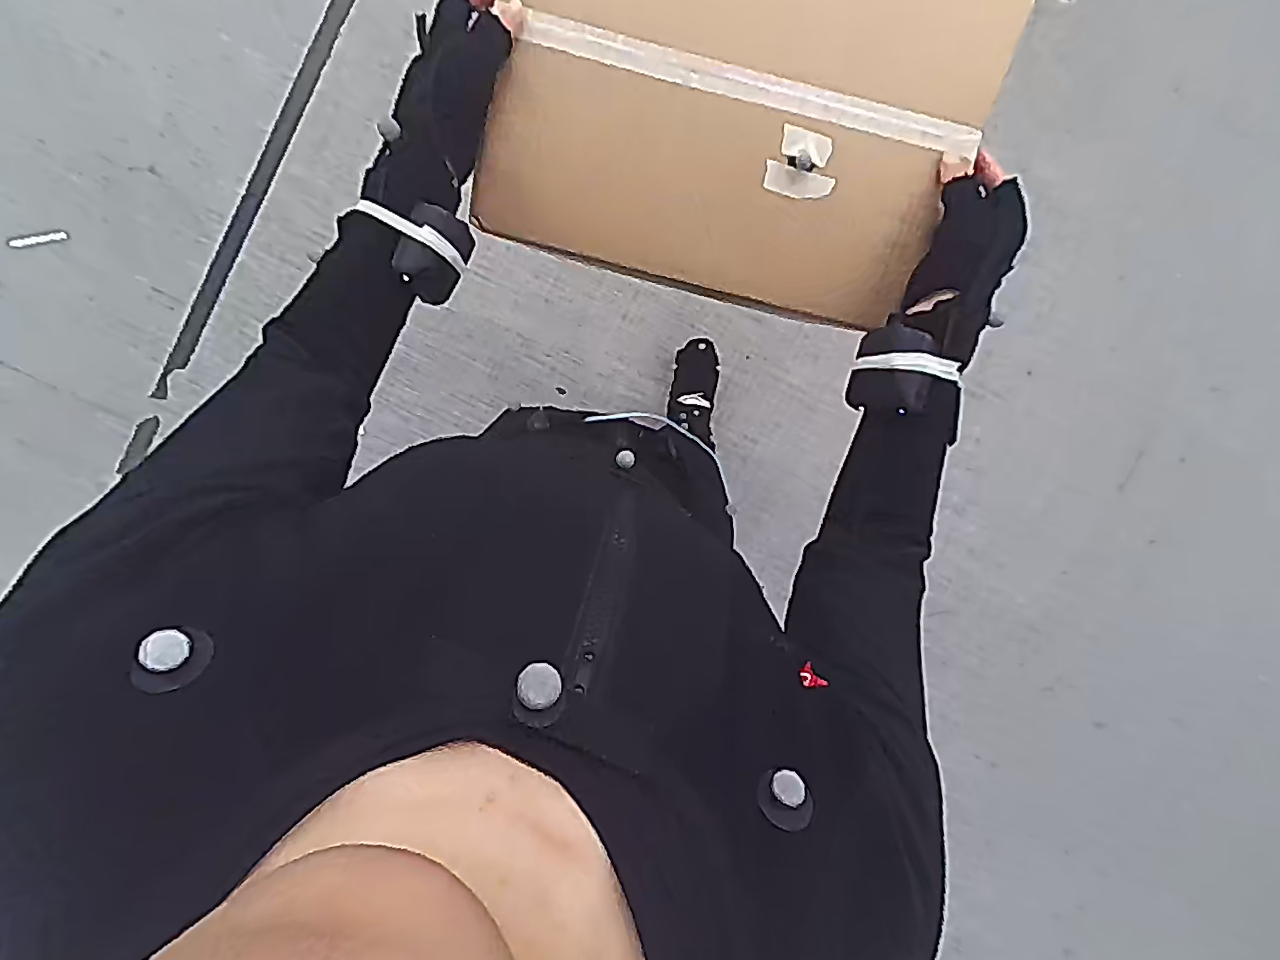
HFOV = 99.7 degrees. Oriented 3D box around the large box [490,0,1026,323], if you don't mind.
[{"bbox_3d":[0.091,-0.378,0.590,0.408,0.320,0.320,14,110,-4],"label":"large box"}]
